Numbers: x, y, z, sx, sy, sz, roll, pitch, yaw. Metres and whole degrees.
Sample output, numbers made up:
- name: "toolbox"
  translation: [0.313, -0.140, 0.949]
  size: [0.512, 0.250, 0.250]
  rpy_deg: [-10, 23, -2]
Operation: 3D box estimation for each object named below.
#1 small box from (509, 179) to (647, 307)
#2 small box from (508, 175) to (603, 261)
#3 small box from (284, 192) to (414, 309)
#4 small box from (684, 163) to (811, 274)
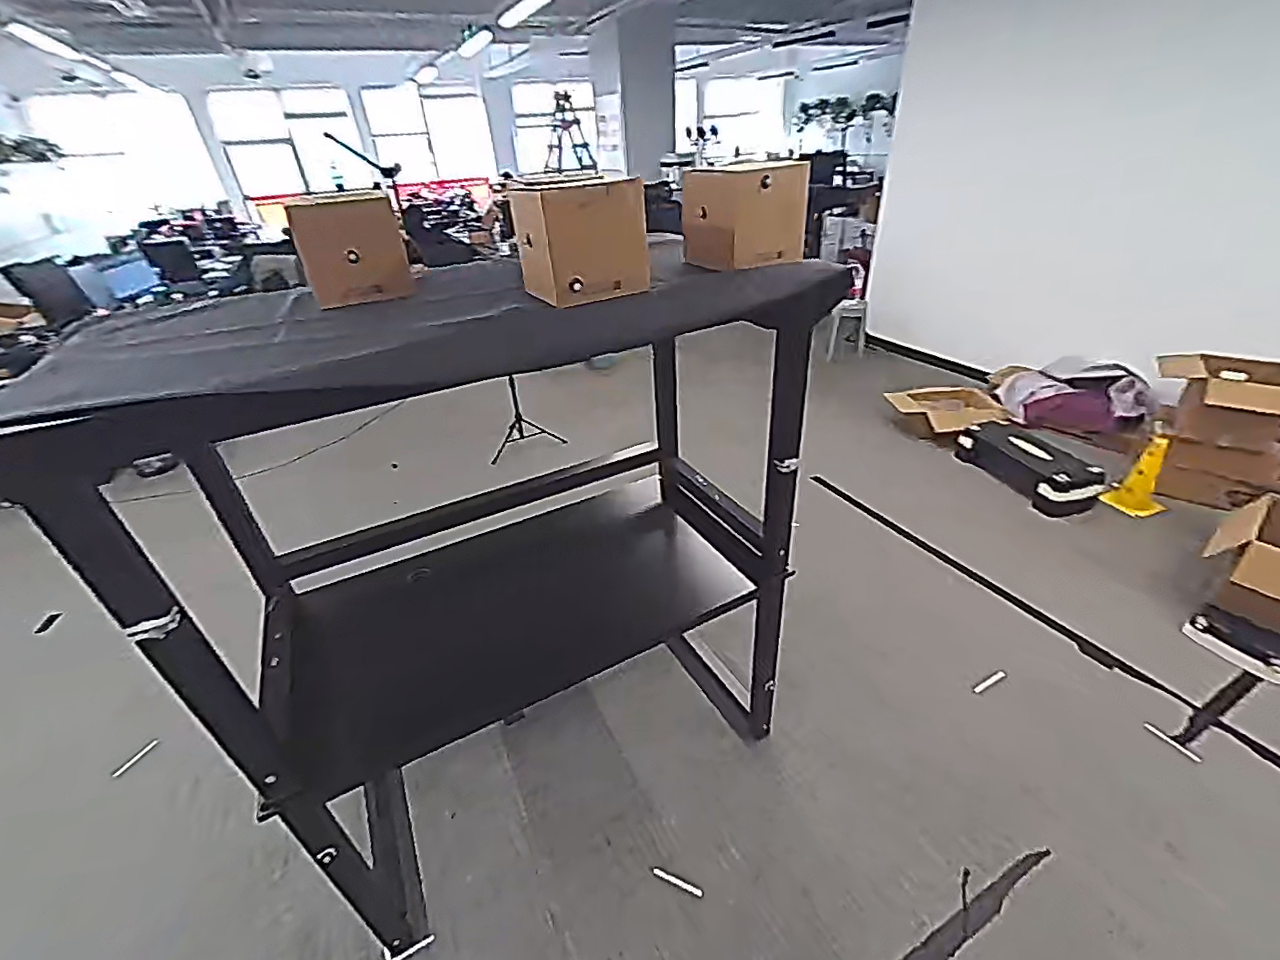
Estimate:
- name: "small box"
  translation: [-0.099, -0.392, 0.894]
  size: [0.168, 0.176, 0.179]
  rpy_deg: [-19, 33, -21]
- name: "small box"
  translation: [-0.172, -0.548, 1.156]
  size: [0.168, 0.176, 0.179]
  rpy_deg: [-15, 33, -18]
- name: "small box"
  translation: [-0.530, -0.422, 0.994]
  size: [0.168, 0.176, 0.179]
  rpy_deg: [-19, 35, -23]
- name: "small box"
  translation: [0.196, -0.497, 1.026]
  size: [0.168, 0.176, 0.179]
  rpy_deg: [-20, 34, -21]
